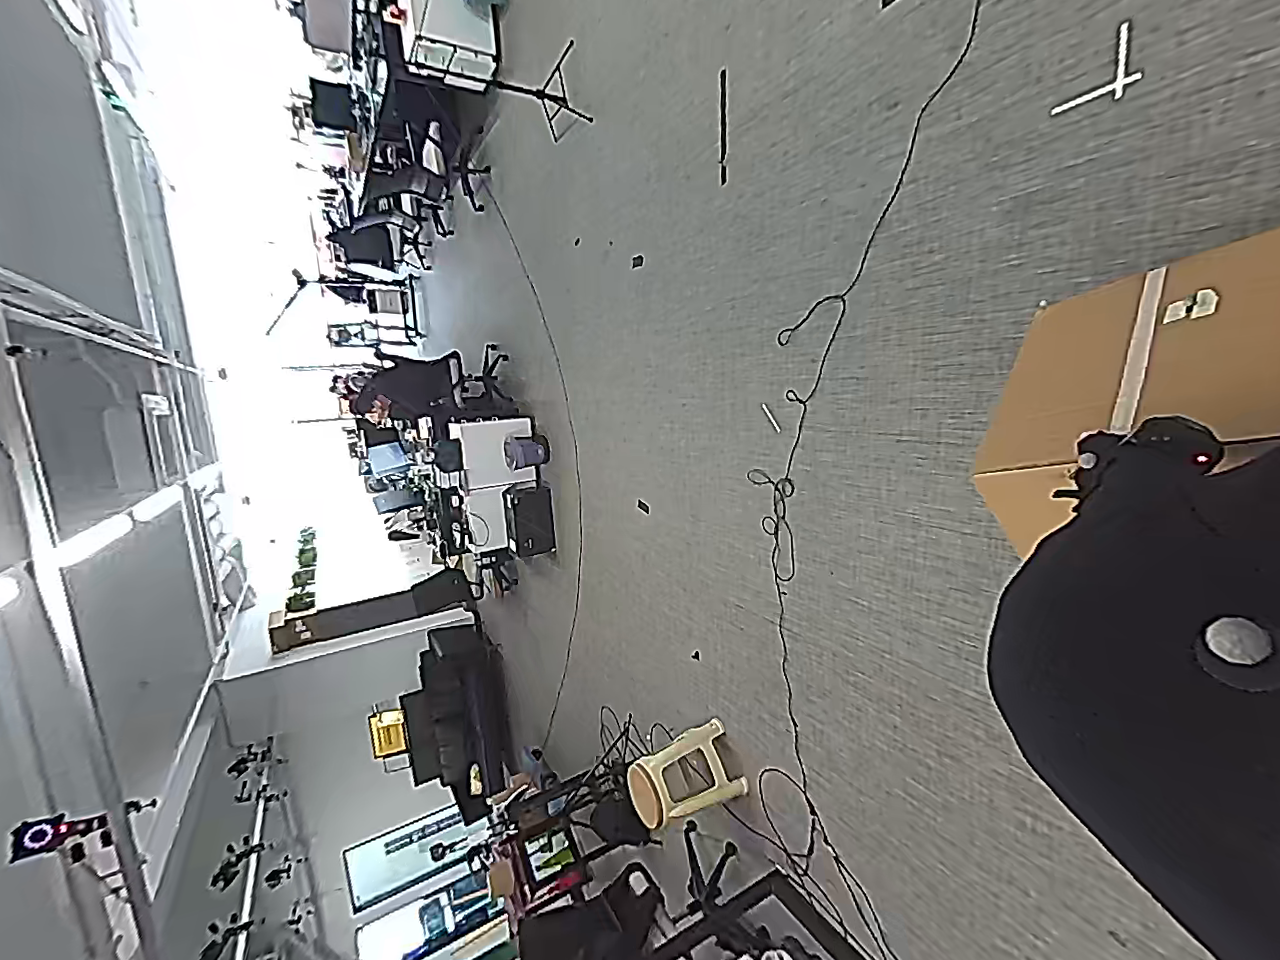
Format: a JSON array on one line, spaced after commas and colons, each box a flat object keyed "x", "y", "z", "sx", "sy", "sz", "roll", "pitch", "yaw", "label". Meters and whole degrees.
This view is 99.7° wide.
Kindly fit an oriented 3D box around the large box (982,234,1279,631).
[{"x": 0.742, "y": -0.054, "z": 0.736, "sx": 0.320, "sy": 0.408, "sz": 0.320, "roll": 49, "pitch": 152, "yaw": -18, "label": "large box"}]
